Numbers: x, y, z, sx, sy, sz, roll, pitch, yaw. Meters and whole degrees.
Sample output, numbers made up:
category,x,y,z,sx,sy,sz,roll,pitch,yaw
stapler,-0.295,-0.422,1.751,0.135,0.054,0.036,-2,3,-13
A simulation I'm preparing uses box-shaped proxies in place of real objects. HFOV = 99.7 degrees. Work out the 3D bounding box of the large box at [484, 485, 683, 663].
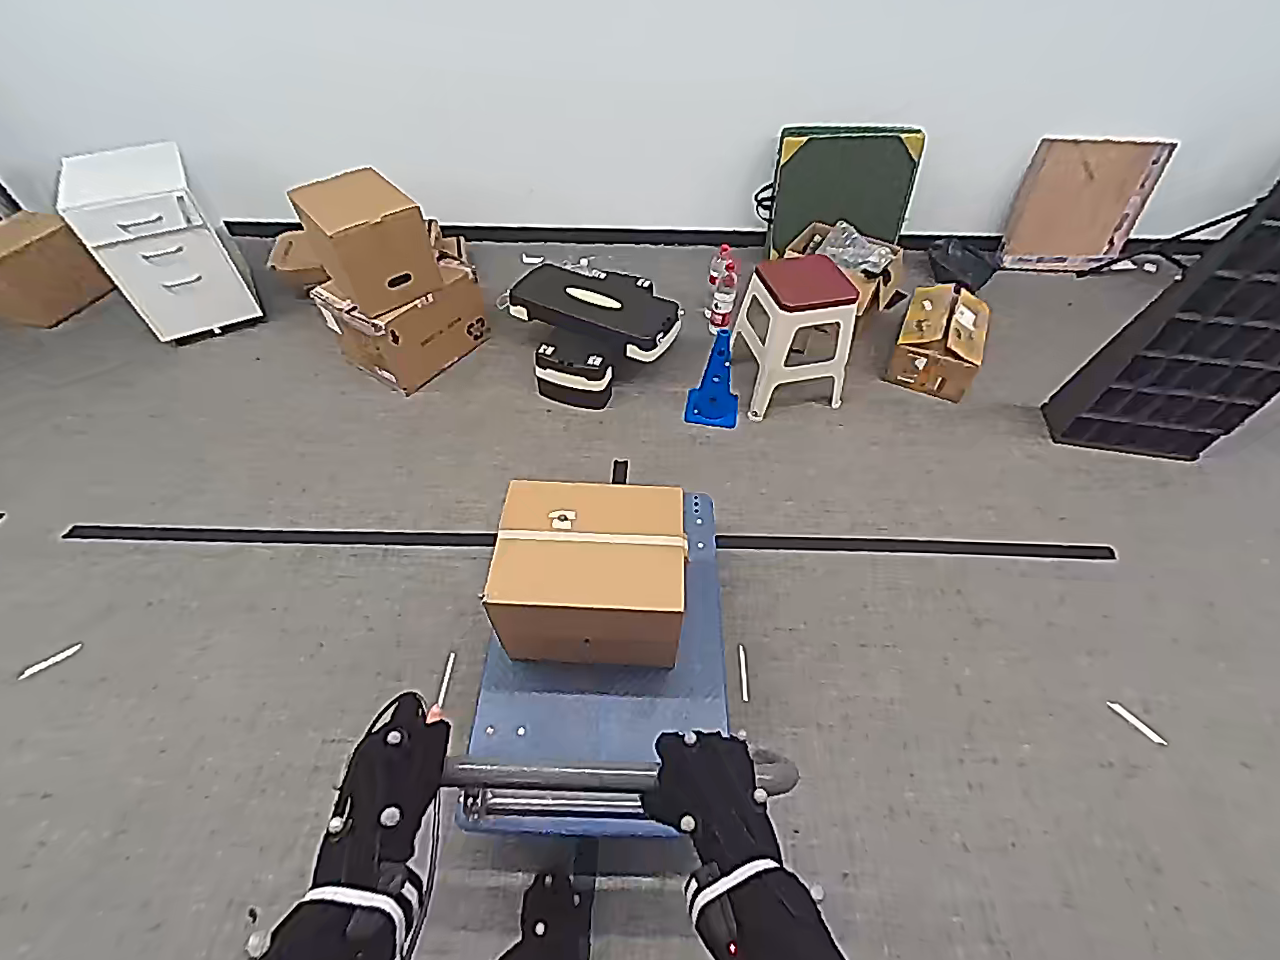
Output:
category,x,y,z,sx,sy,sz,roll,pitch,yaw
large box,-0.108,0.229,1.284,0.408,0.320,0.320,2,51,1
